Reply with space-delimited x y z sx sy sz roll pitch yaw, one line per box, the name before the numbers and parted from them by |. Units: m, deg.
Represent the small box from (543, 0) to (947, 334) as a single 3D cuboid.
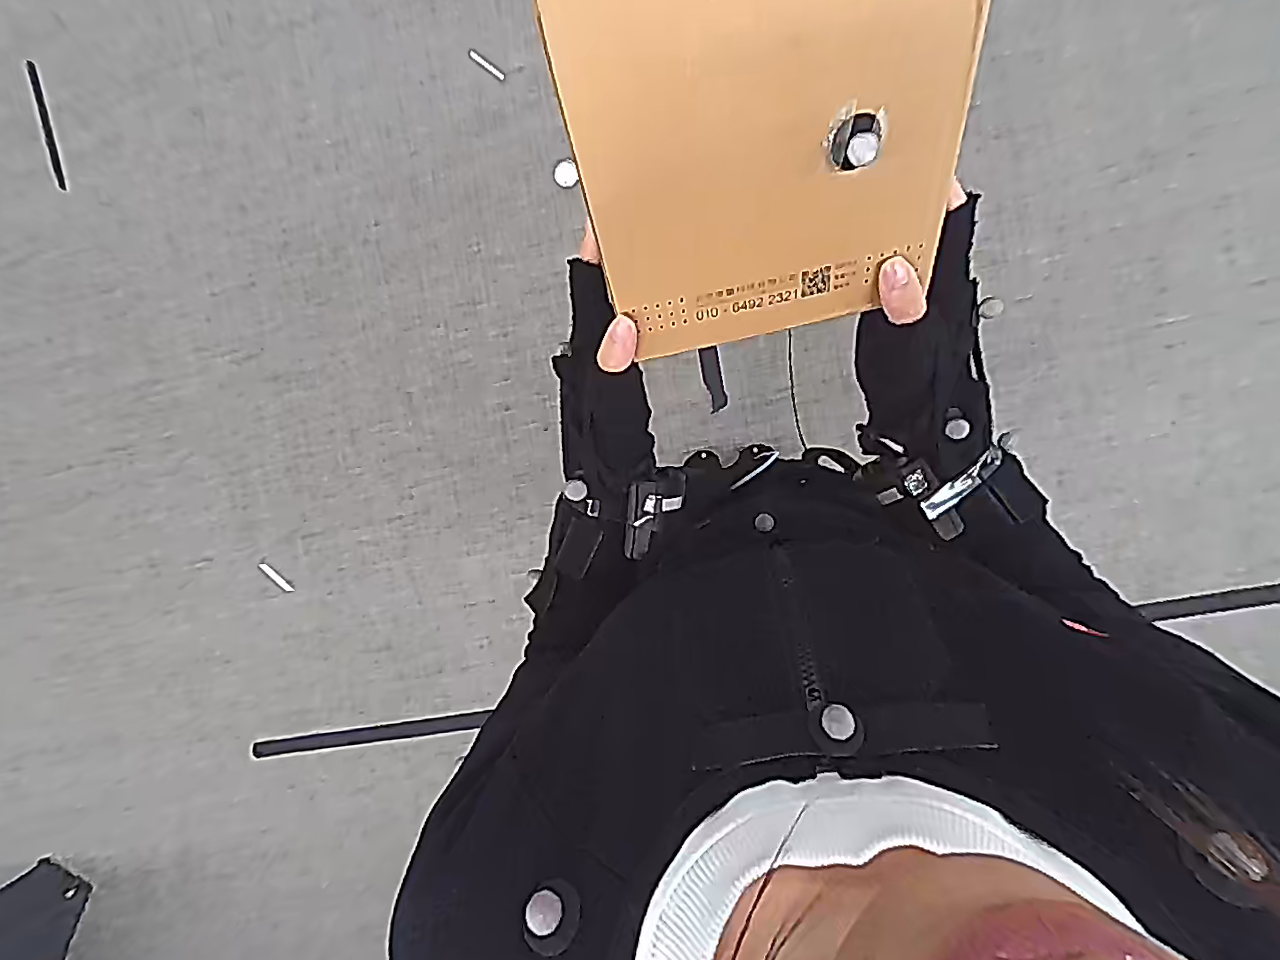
small box | 0.053 -0.202 0.312 0.168 0.176 0.179 -10 48 6
